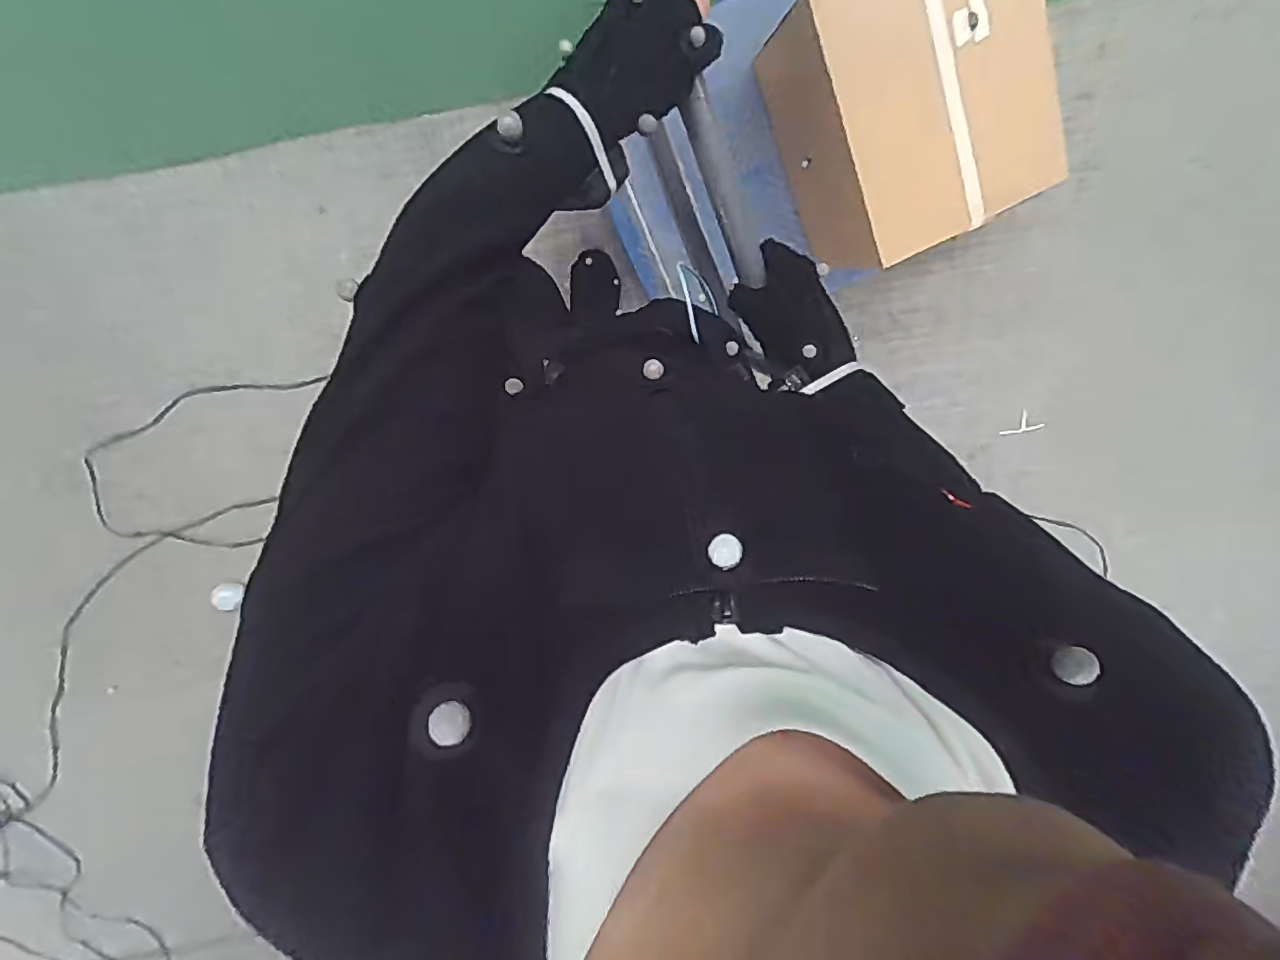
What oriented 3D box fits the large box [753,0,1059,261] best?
[{"bbox_3d":[0.440,-0.647,0.949,0.320,0.320,0.408,-25,111,6],"label":"large box"}]
